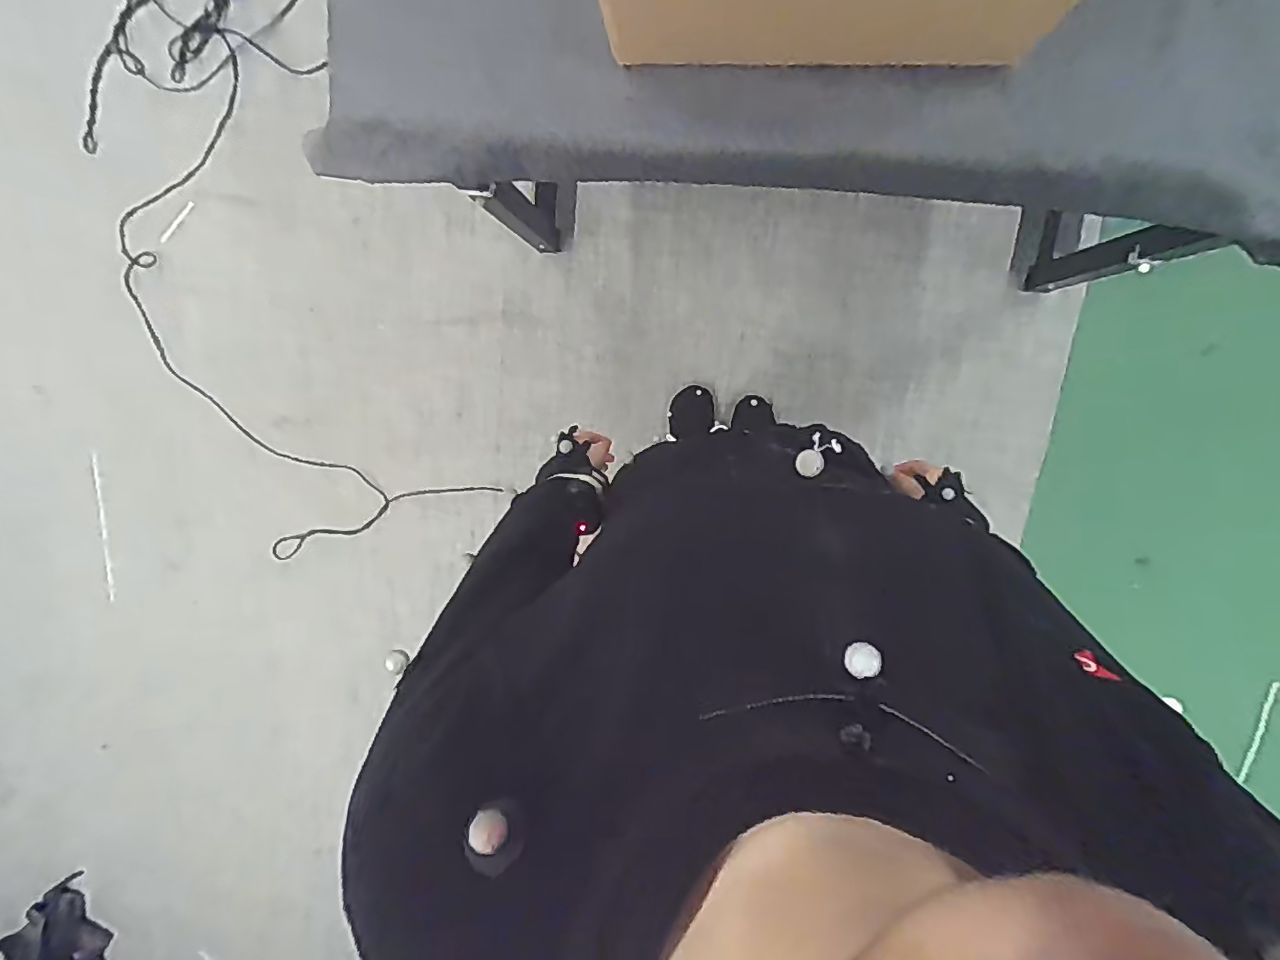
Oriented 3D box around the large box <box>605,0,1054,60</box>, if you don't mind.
[{"bbox_3d":[0.162,-0.555,0.380,0.408,0.320,0.320,3,101,4],"label":"large box"}]
